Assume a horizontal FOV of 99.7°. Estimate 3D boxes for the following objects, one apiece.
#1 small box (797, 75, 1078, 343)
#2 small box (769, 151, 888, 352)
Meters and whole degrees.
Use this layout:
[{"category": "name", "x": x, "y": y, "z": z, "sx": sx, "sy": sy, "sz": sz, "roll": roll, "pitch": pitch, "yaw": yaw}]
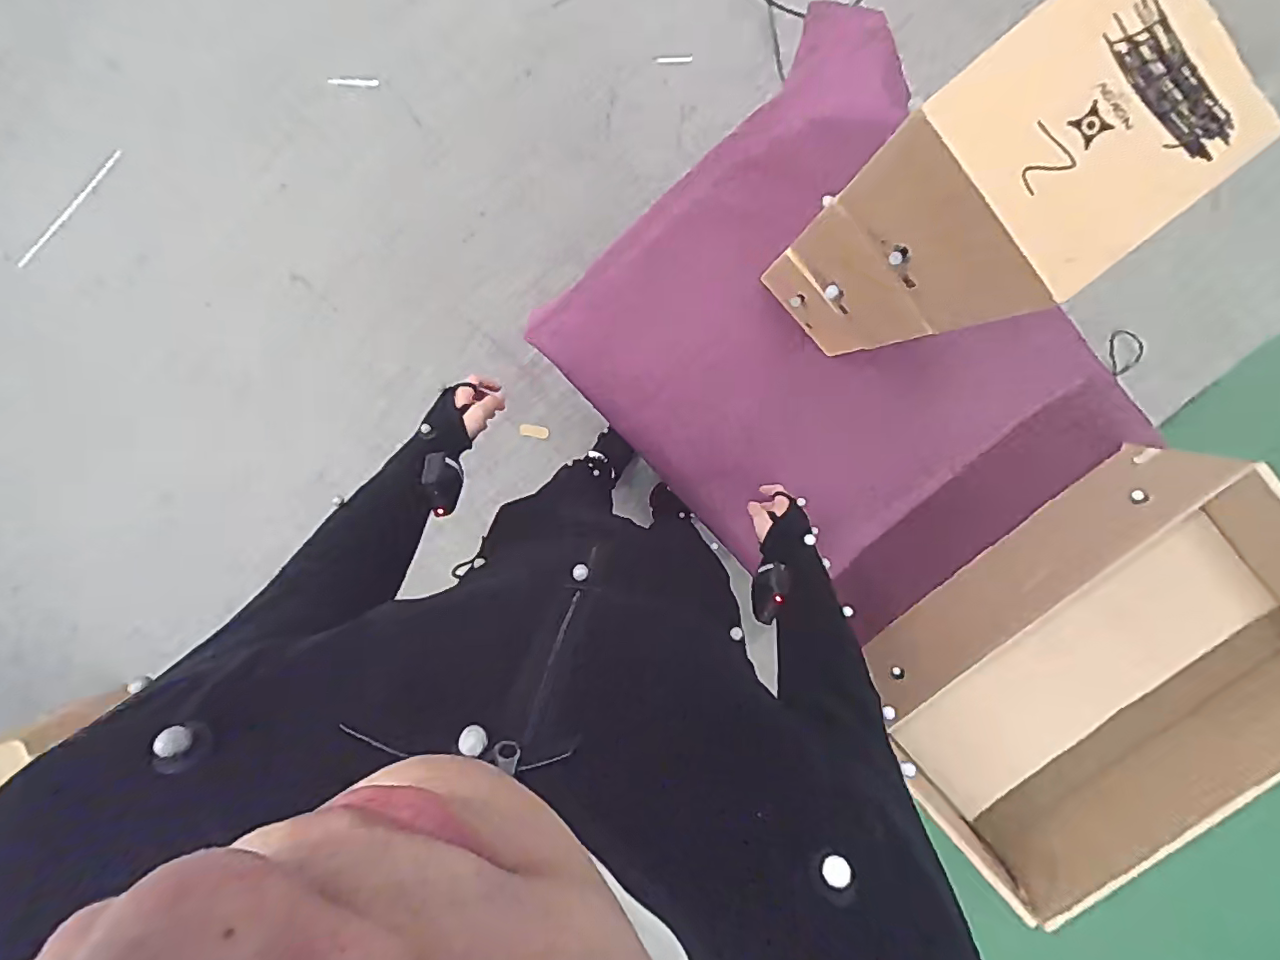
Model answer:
[{"category": "small box", "x": 0.303, "y": -0.273, "z": 0.593, "sx": 0.179, "sy": 0.176, "sz": 0.168, "roll": -38, "pitch": 95, "yaw": 6}, {"category": "small box", "x": 0.300, "y": -0.299, "z": 0.756, "sx": 0.179, "sy": 0.176, "sz": 0.168, "roll": -43, "pitch": 95, "yaw": 6}]
